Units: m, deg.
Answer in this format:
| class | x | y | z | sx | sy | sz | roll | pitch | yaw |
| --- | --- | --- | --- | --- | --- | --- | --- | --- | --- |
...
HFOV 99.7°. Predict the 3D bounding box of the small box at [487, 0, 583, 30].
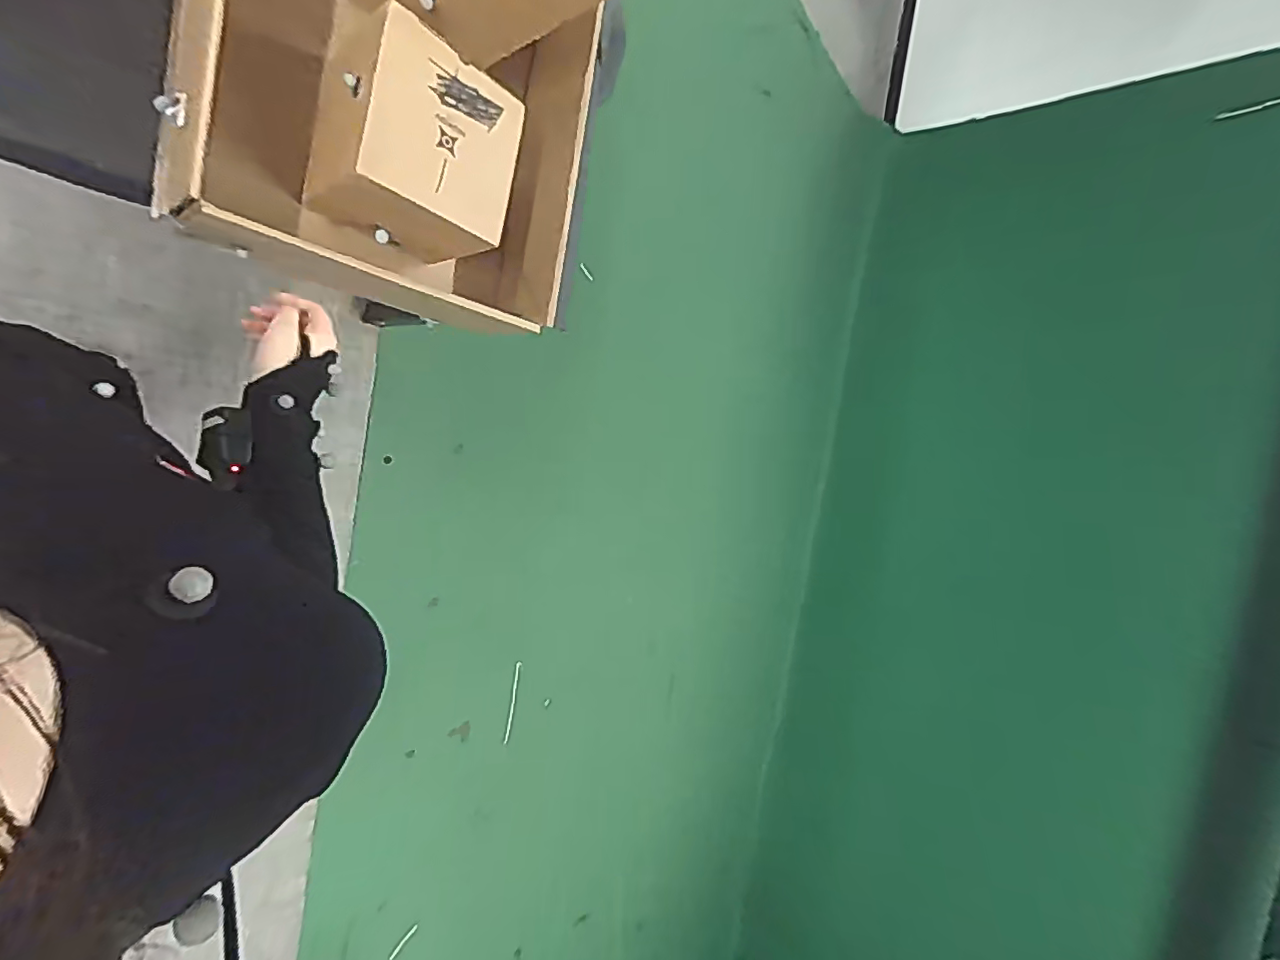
| class | x | y | z | sx | sy | sz | roll | pitch | yaw |
| --- | --- | --- | --- | --- | --- | --- | --- | --- | --- |
| small box | -0.110 | -0.592 | 0.520 | 0.179 | 0.176 | 0.168 | 5 | 97 | -50 |
